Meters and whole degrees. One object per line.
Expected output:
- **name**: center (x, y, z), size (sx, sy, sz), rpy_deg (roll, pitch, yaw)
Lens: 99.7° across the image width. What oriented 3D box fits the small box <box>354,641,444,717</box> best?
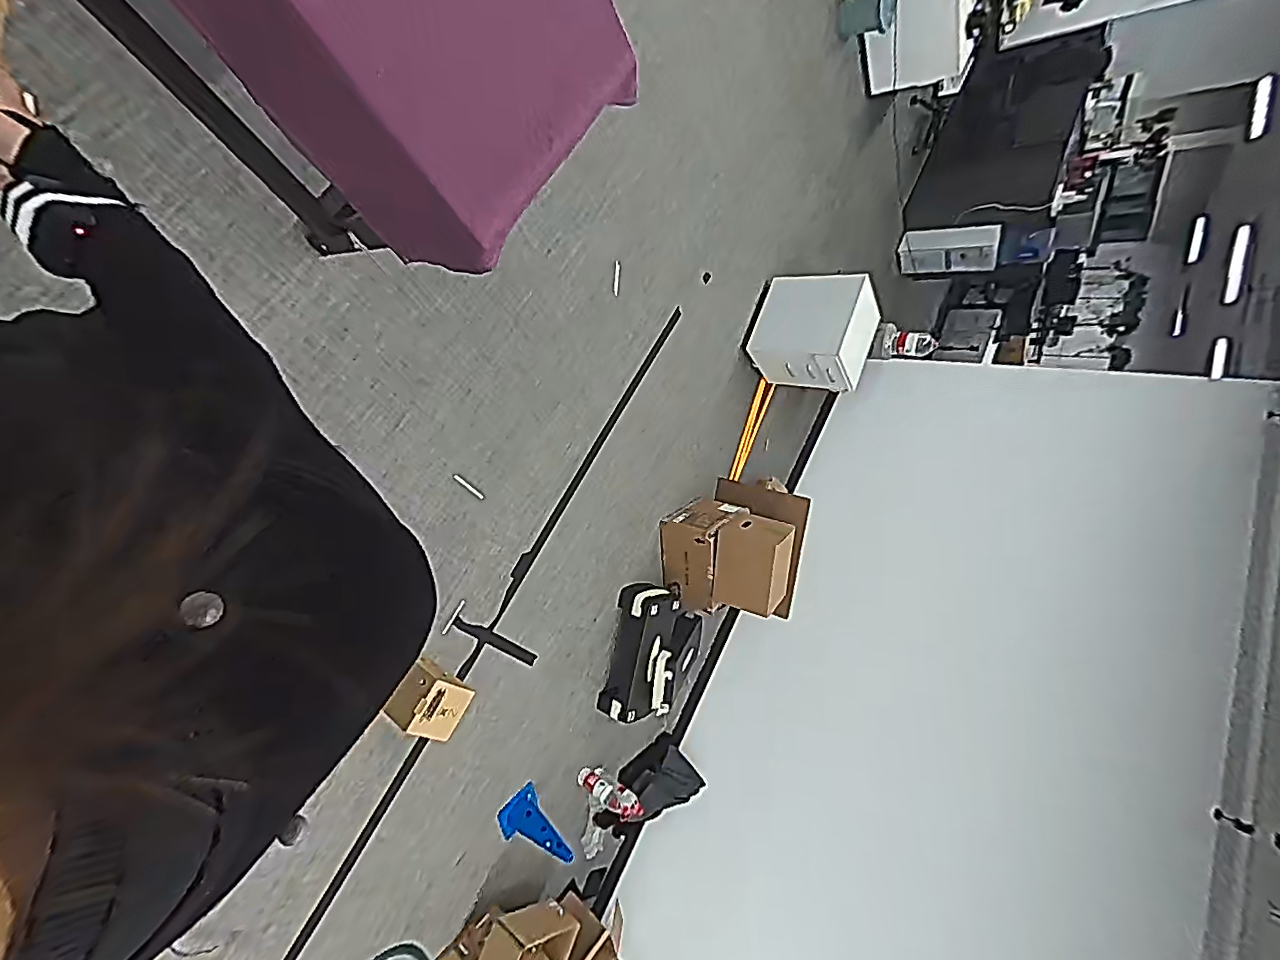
- **small box**: center (-0.800, 0.656, 1.791), size (0.179, 0.176, 0.168), rpy_deg (46, 66, -47)
